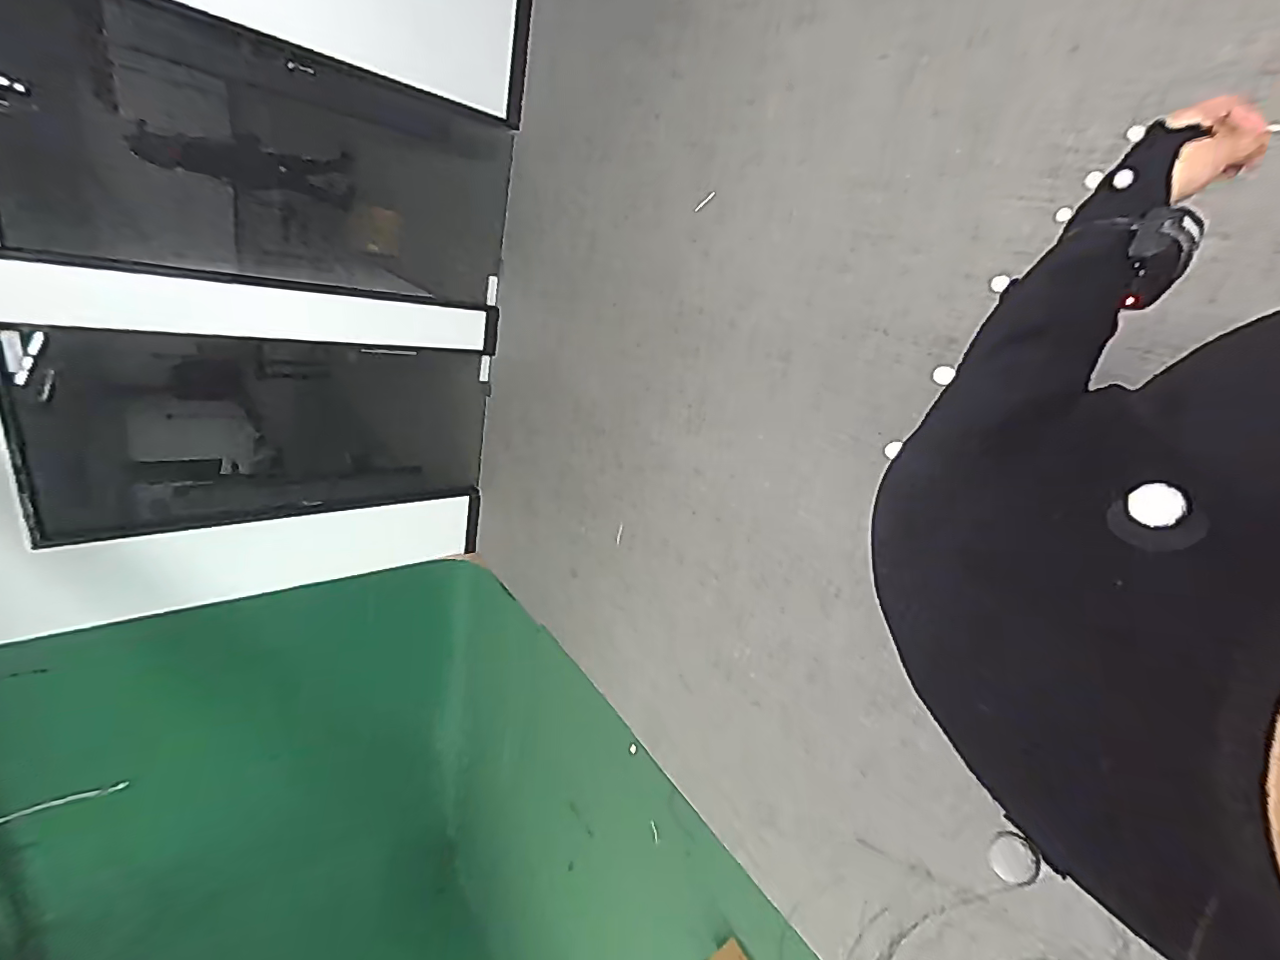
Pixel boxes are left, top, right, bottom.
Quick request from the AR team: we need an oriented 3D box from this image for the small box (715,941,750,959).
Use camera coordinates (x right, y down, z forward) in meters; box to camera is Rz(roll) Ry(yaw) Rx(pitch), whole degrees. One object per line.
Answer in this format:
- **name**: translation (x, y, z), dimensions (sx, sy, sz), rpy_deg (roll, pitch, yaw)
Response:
- **small box**: translation (0.352, 1.967, 2.115), dimensions (0.168, 0.176, 0.179), rpy_deg (43, 126, 38)
